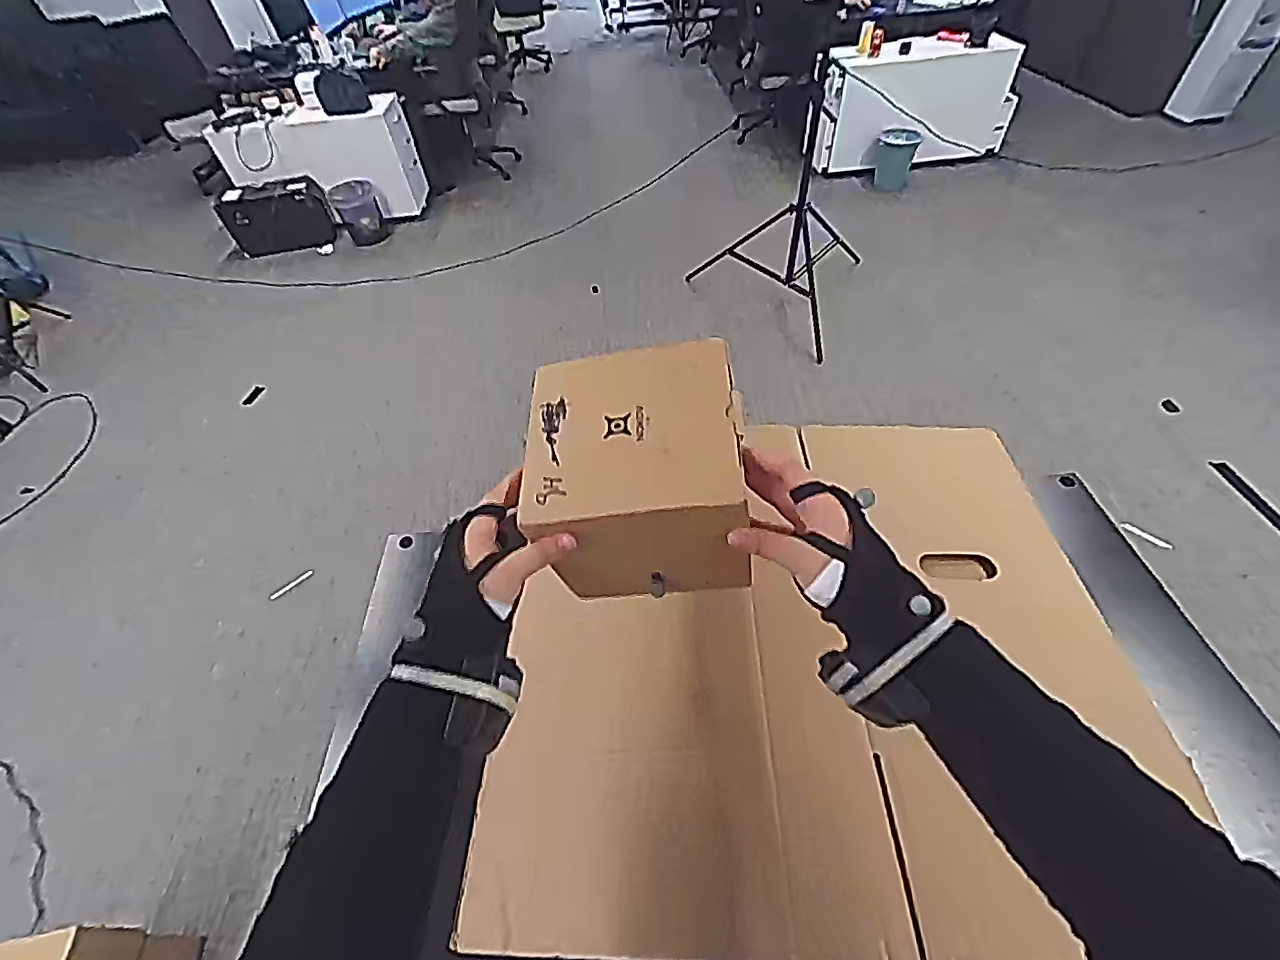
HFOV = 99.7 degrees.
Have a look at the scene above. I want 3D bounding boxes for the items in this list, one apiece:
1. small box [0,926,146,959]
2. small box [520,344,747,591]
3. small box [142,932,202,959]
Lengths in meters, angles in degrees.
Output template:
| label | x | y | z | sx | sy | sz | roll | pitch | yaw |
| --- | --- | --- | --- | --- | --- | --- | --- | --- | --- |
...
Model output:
| label | x | y | z | sx | sy | sz | roll | pitch | yaw |
| --- | --- | --- | --- | --- | --- | --- | --- | --- | --- |
| small box | -1.038 | 0.915 | 0.952 | 0.168 | 0.176 | 0.179 | -10 | 49 | -4 |
| small box | 0.006 | -0.003 | 0.516 | 0.179 | 0.176 | 0.168 | -5 | 56 | 9 |
| small box | -1.027 | 1.025 | 1.072 | 0.168 | 0.176 | 0.179 | -9 | 50 | -2 |
